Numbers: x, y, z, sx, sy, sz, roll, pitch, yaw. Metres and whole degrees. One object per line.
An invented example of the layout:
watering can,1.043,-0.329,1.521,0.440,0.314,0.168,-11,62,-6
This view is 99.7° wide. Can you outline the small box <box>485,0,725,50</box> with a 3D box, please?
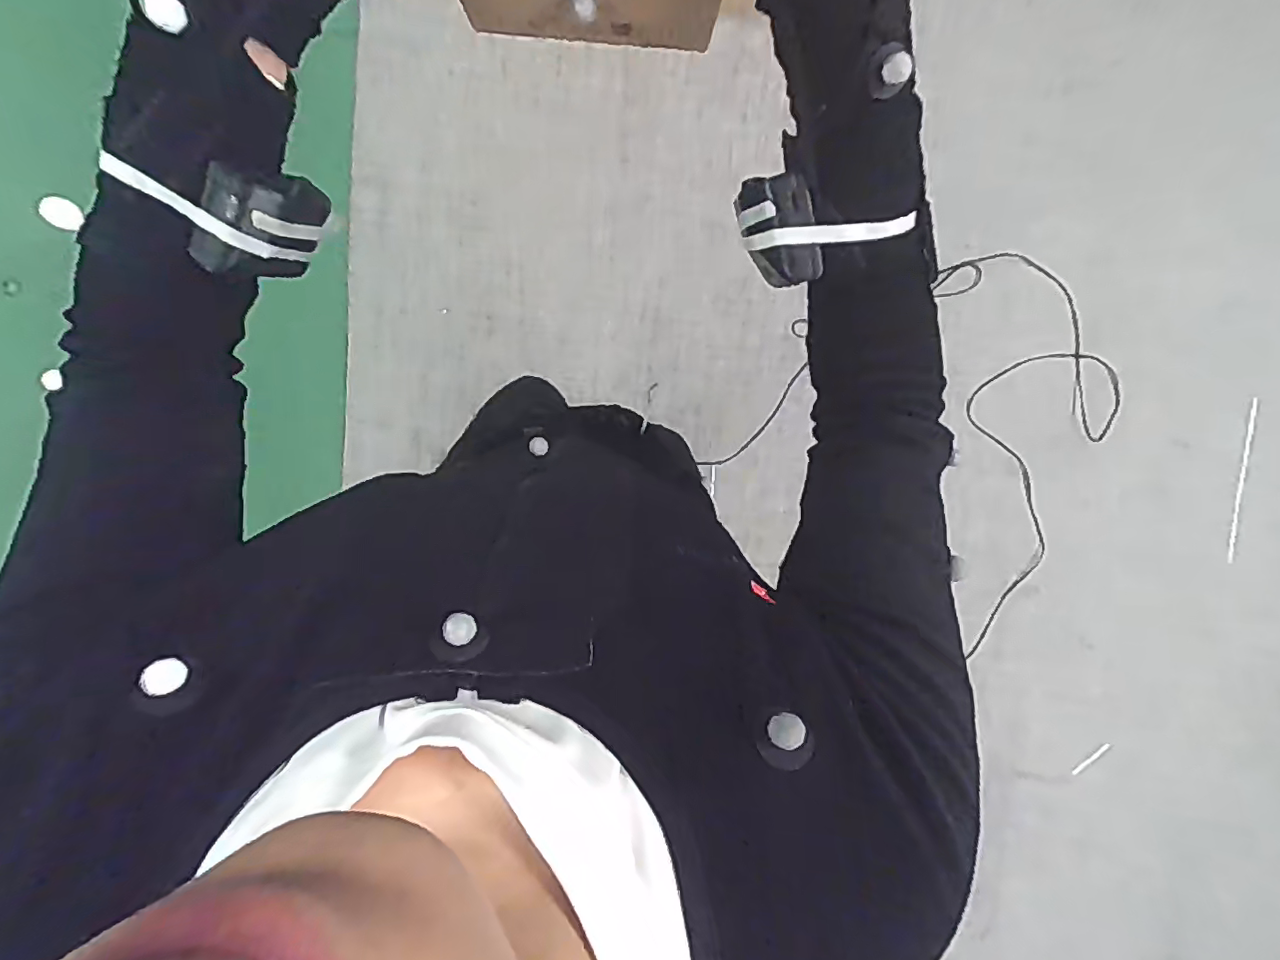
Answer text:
small box,-0.019,-0.373,0.276,0.168,0.176,0.179,4,102,-3
